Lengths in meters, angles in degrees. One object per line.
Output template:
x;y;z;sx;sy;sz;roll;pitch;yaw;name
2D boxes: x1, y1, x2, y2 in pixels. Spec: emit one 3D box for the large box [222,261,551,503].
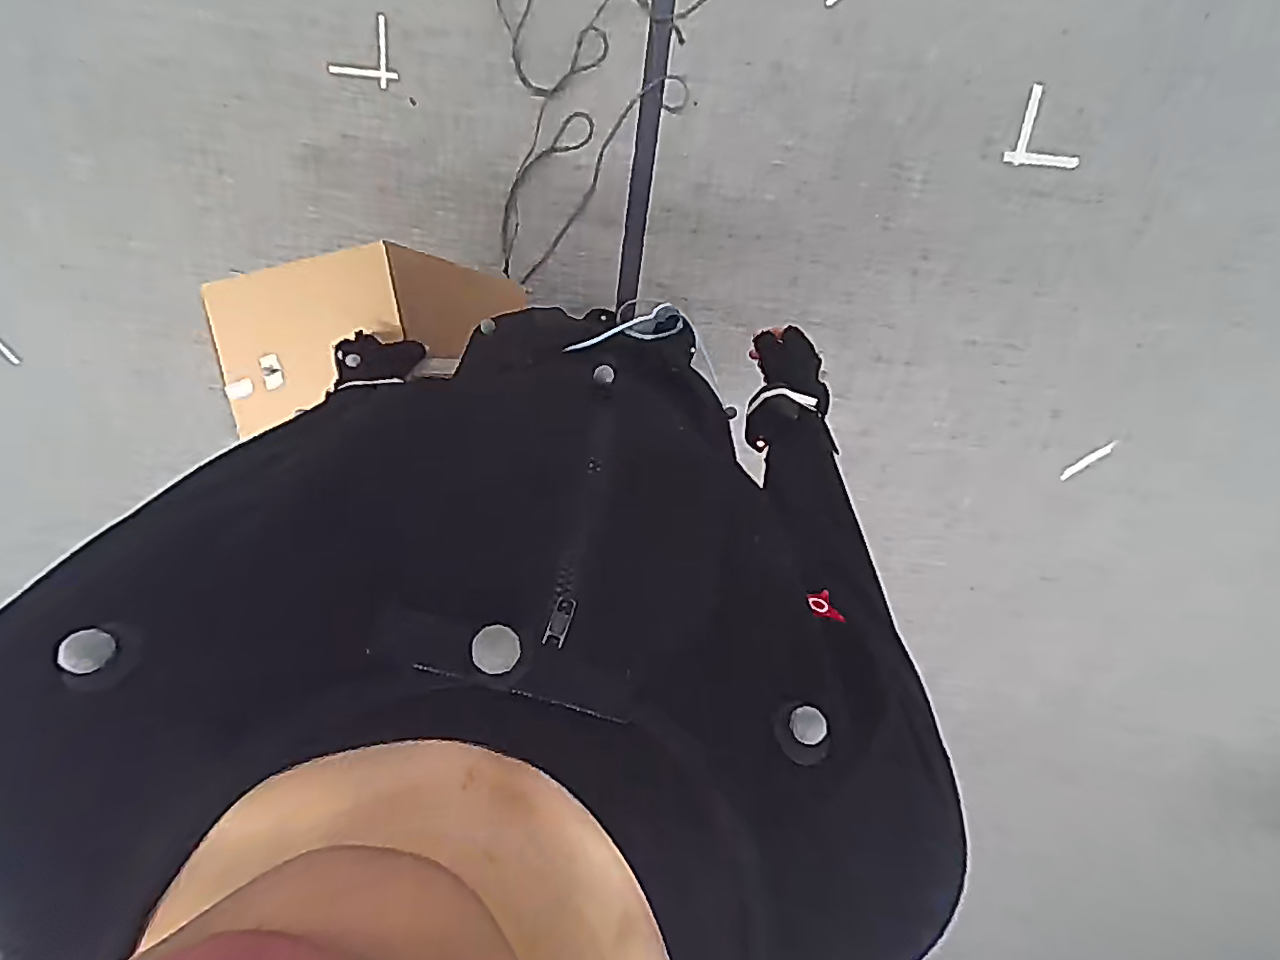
-0.395;-0.165;0.948;0.320;0.408;0.320;-4;100;14;large box
